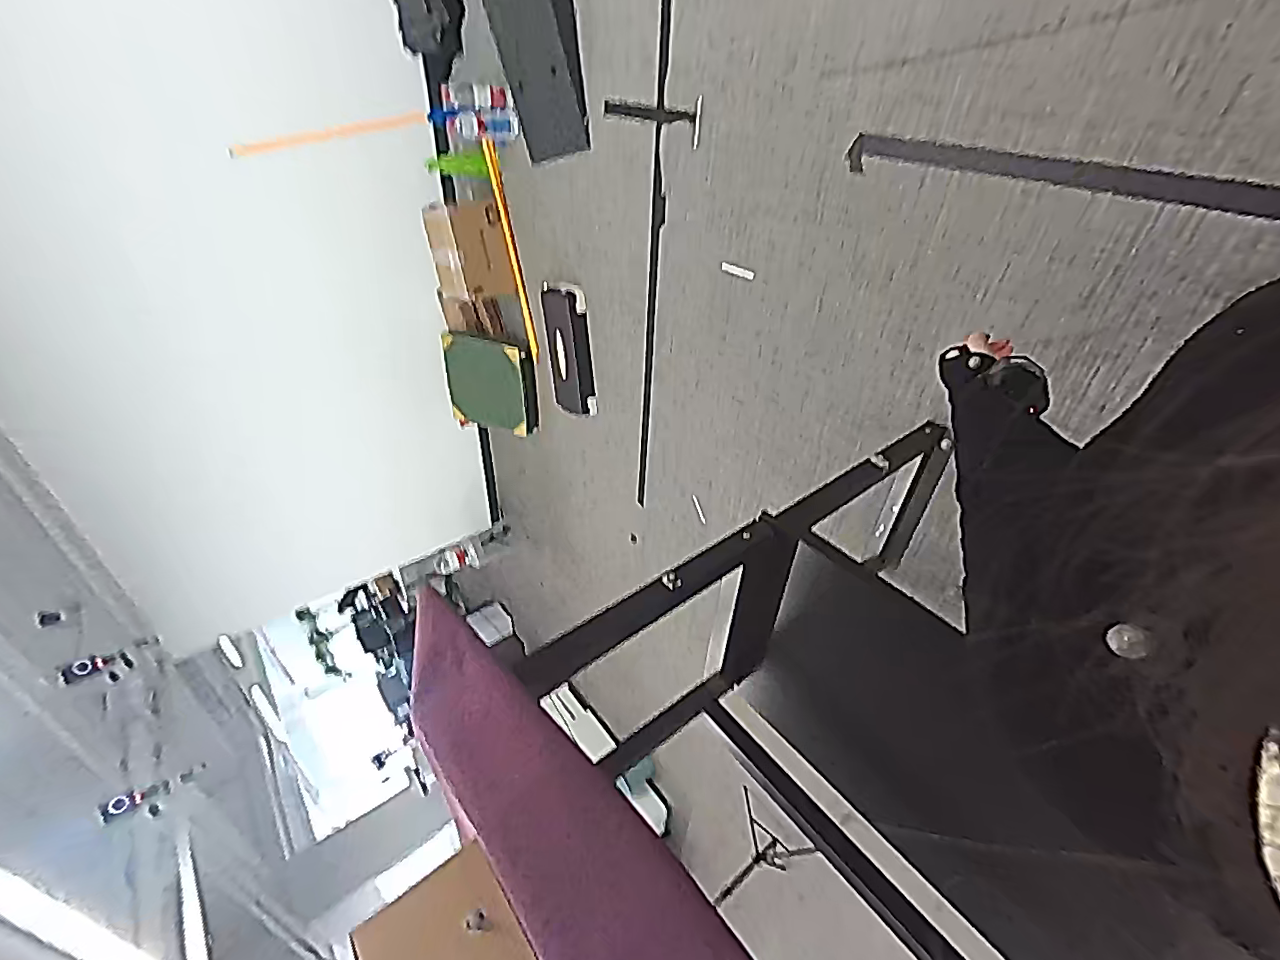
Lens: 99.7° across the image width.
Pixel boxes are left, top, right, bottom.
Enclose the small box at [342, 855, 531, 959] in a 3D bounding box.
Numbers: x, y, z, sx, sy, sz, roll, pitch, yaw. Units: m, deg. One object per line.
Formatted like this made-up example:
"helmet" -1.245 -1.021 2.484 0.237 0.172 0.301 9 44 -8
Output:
"small box" -0.244 0.620 0.683 0.179 0.176 0.168 38 140 37
